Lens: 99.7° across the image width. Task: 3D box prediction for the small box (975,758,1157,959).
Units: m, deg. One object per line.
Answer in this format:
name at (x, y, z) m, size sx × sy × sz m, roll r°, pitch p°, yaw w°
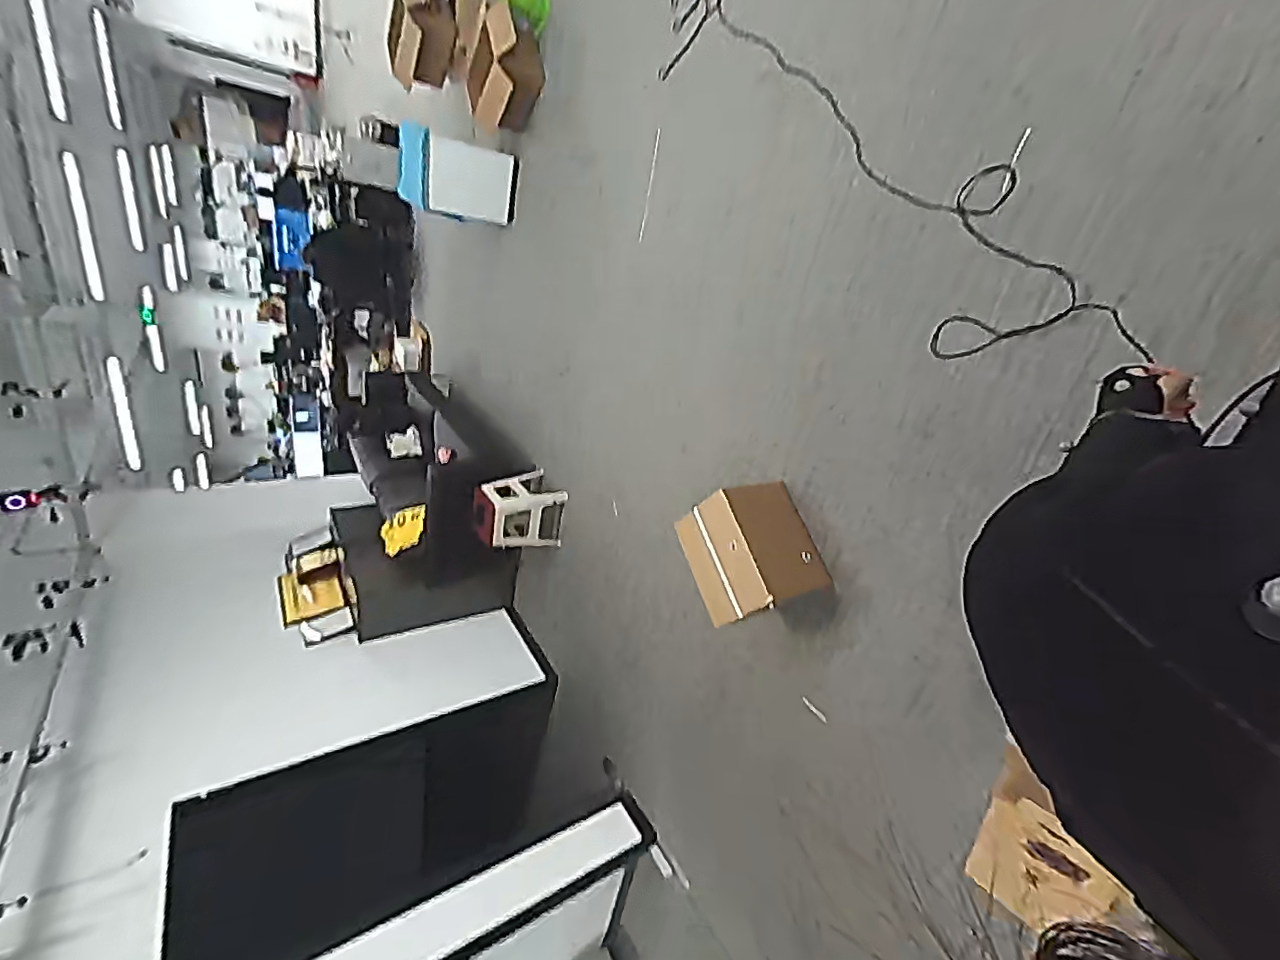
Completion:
small box at (0.685, 0.591, 0.870) m, size 0.168 × 0.176 × 0.179 m, roll 29°, pitch 117°, yaw 50°
